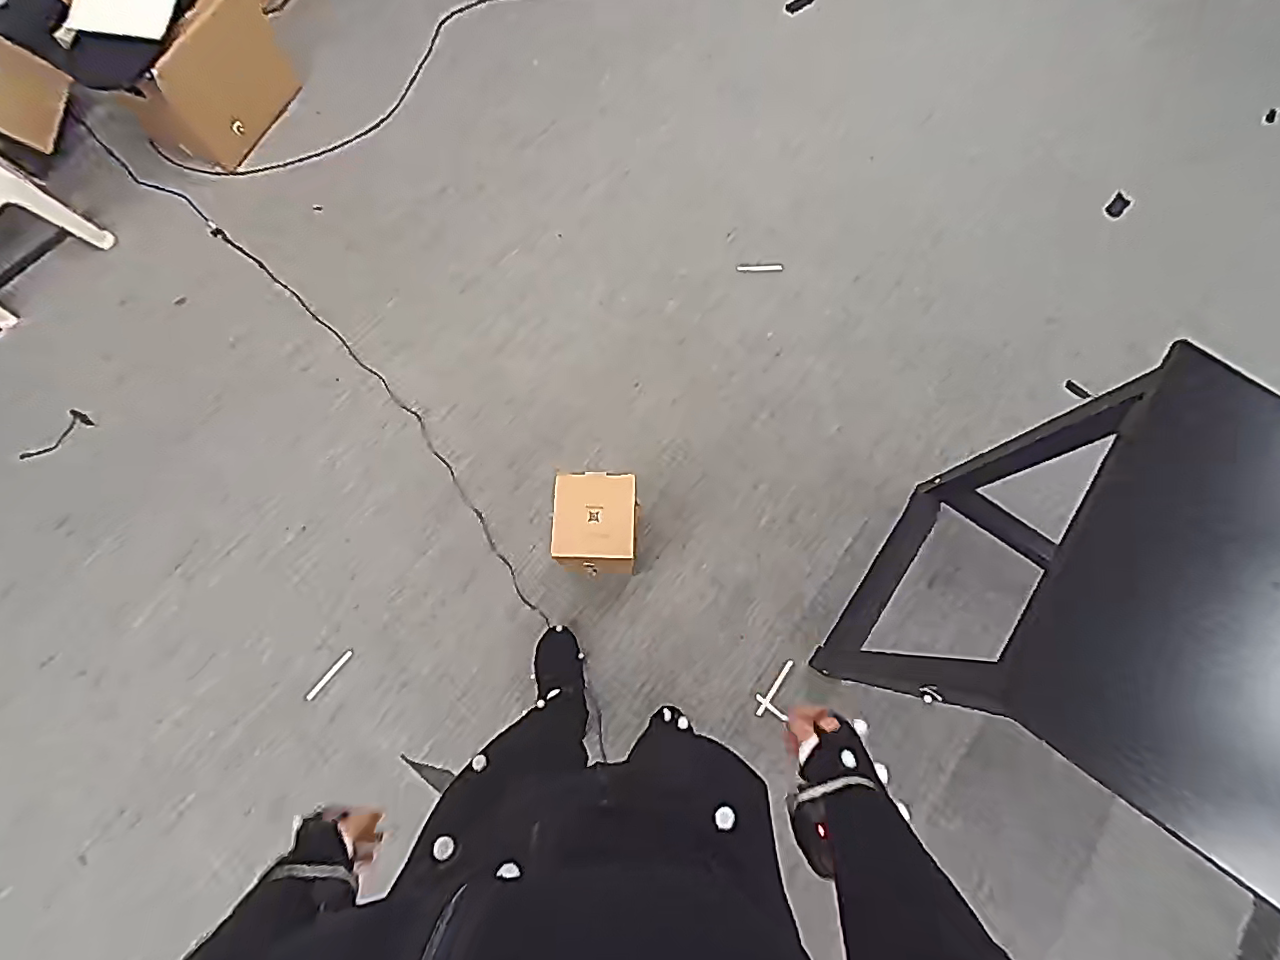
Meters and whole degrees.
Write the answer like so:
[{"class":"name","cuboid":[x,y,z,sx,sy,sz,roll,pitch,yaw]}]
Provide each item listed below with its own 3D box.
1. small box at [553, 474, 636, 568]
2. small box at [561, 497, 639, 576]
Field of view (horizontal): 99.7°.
[{"class":"small box","cuboid":[-0.092,0.094,1.178,0.168,0.176,0.179,1,75,0]},{"class":"small box","cuboid":[-0.093,0.137,1.335,0.168,0.176,0.179,6,74,0]}]
